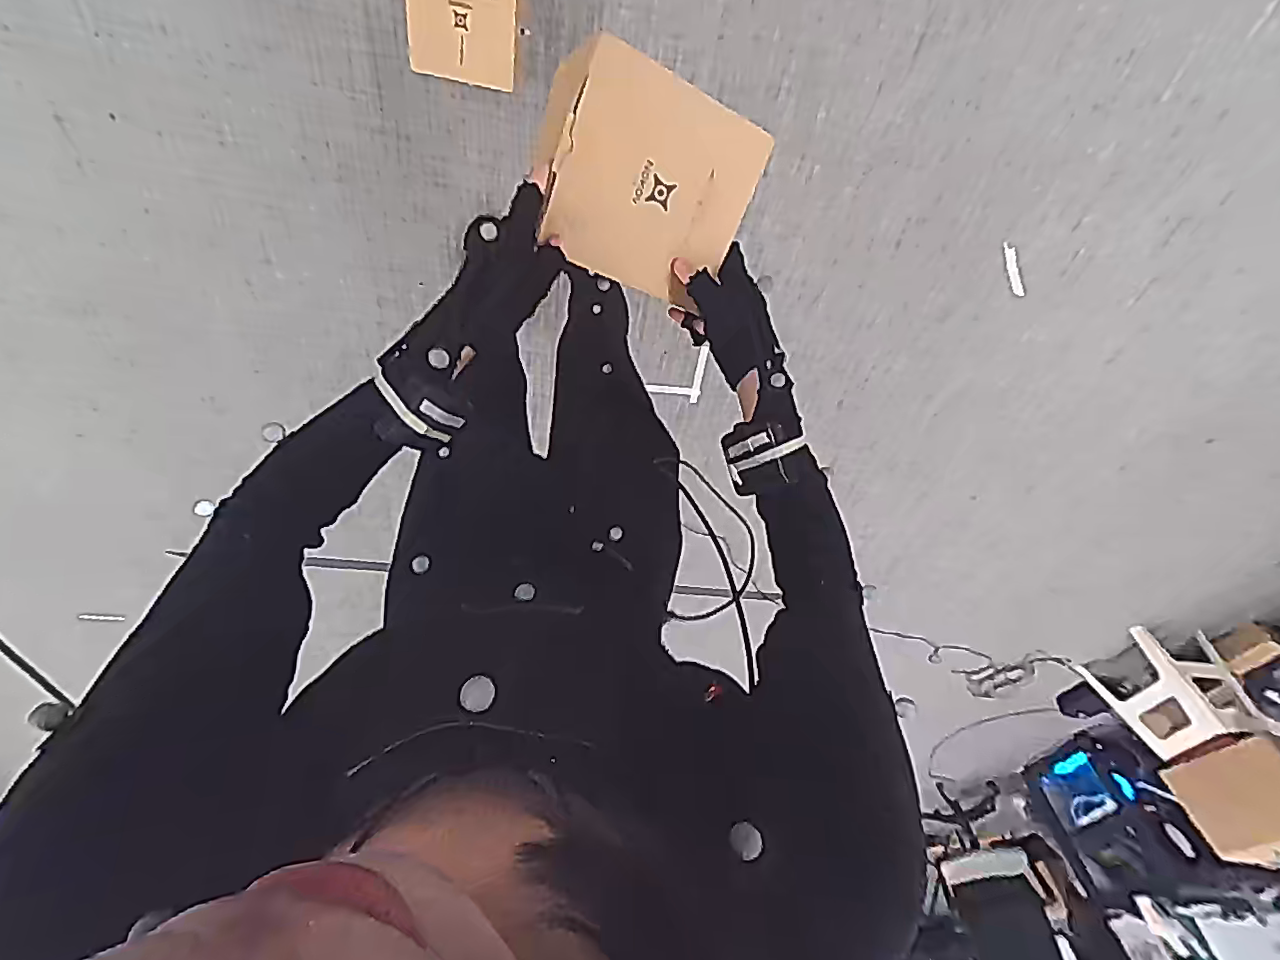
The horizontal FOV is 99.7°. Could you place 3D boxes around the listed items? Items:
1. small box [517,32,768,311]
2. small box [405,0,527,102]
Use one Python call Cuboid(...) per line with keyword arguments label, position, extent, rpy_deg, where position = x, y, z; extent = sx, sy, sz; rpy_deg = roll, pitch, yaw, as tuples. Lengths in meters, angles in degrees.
Cuboid(label="small box", position=(-0.014, -0.293, 0.544), extent=(0.179, 0.176, 0.168), rpy_deg=(14, 113, -26))
Cuboid(label="small box", position=(-0.280, -0.757, 0.892), extent=(0.168, 0.176, 0.179), rpy_deg=(7, 131, -10))
